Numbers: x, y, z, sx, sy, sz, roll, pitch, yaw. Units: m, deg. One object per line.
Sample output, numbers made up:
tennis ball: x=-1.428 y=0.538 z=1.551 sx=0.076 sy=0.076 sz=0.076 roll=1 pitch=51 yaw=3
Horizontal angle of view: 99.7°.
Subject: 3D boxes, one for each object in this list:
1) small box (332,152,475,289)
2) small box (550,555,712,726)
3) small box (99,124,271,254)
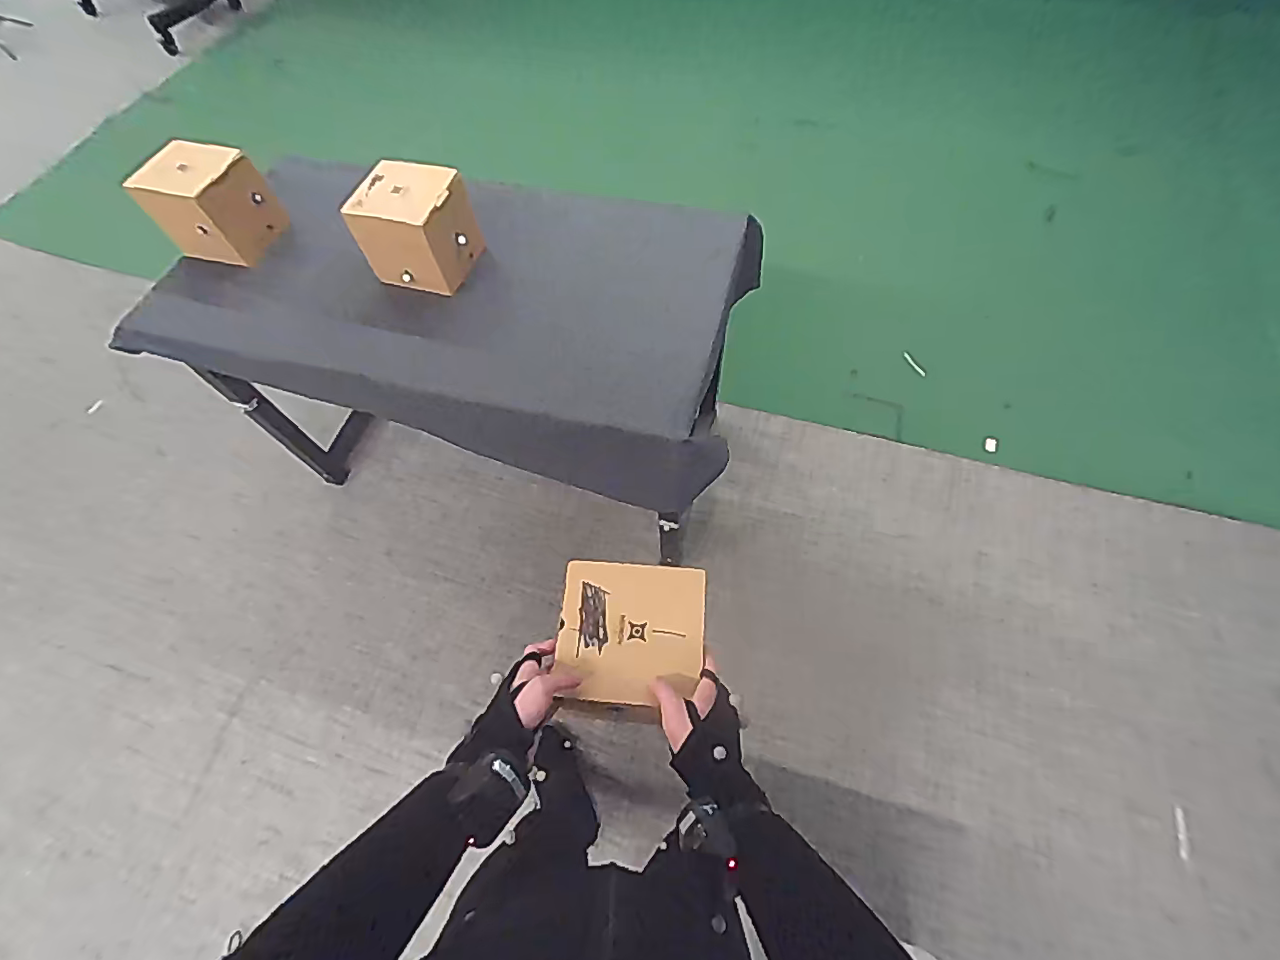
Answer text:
small box: x=-0.452 y=-0.508 z=1.071 sx=0.179 sy=0.176 sz=0.168 roll=15 pitch=62 yaw=7
small box: x=-0.006 y=0.210 z=0.690 sx=0.179 sy=0.176 sz=0.168 roll=5 pitch=58 yaw=2
small box: x=-0.923 y=-0.597 z=1.121 sx=0.179 sy=0.176 sz=0.168 roll=12 pitch=60 yaw=8
